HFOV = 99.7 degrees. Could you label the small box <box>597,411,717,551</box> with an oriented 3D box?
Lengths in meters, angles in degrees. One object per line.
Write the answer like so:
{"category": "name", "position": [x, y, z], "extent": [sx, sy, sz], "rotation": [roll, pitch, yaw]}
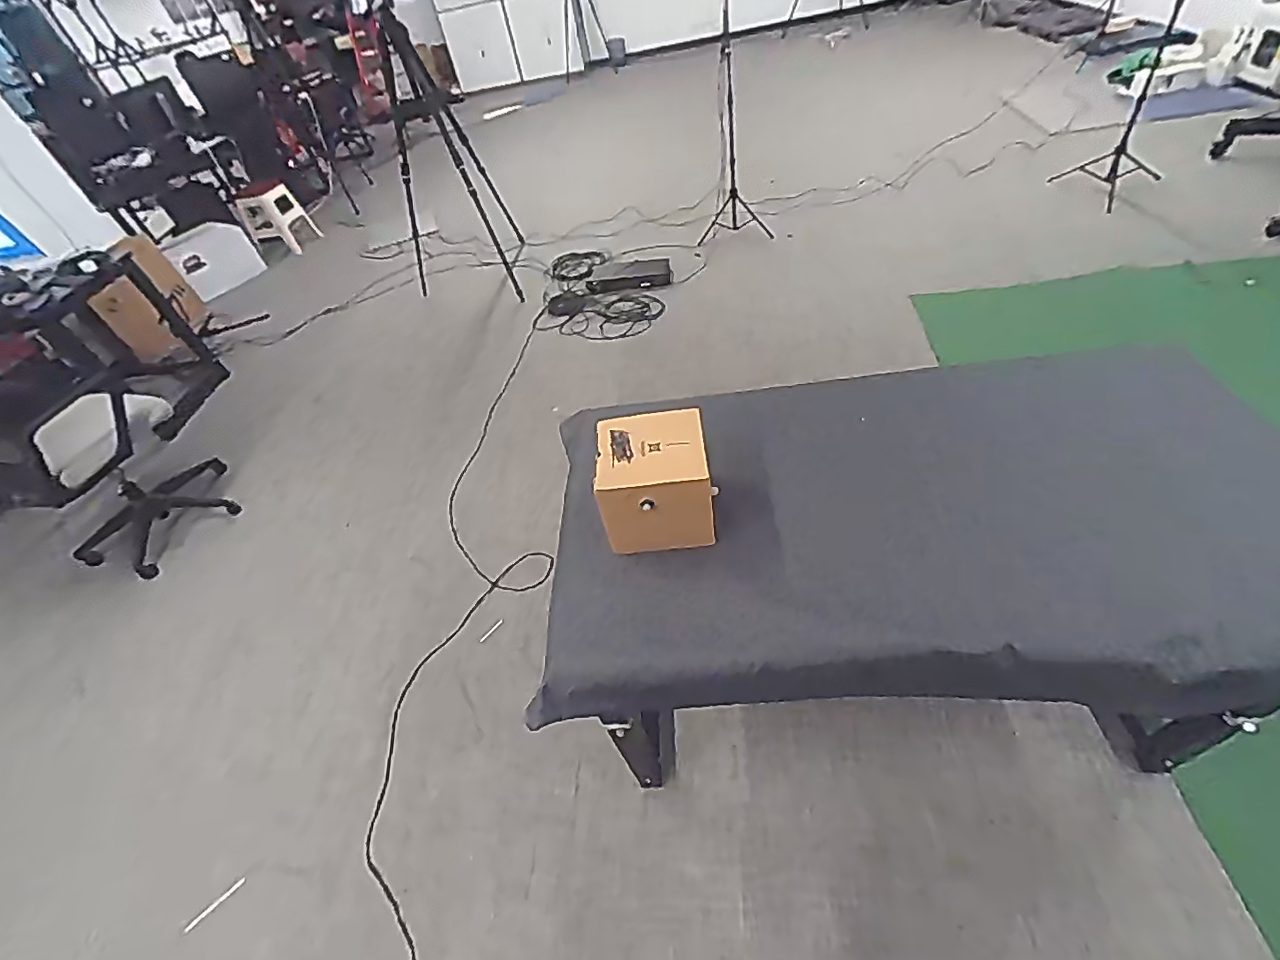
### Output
{"category": "small box", "position": [0.033, 0.007, 0.919], "extent": [0.179, 0.176, 0.168], "rotation": [-6, 46, 6]}
